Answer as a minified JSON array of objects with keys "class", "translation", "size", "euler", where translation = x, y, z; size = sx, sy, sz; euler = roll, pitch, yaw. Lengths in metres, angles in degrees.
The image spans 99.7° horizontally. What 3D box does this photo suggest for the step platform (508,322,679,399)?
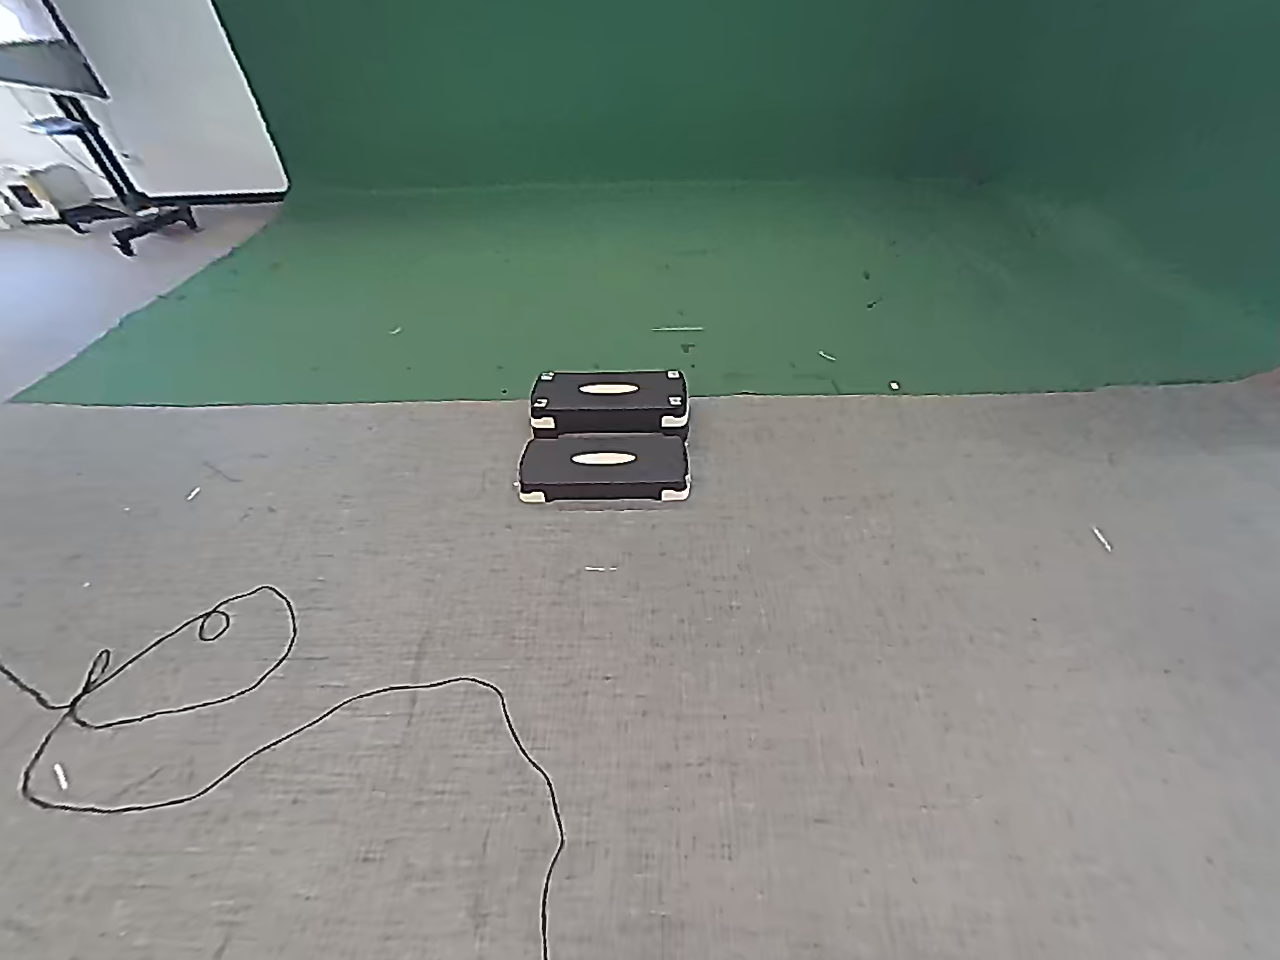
[{"class":"step platform","translation":[-0.183,-0.495,2.244],"size":[0.684,0.204,0.286],"euler":[-1,45,2]}]
